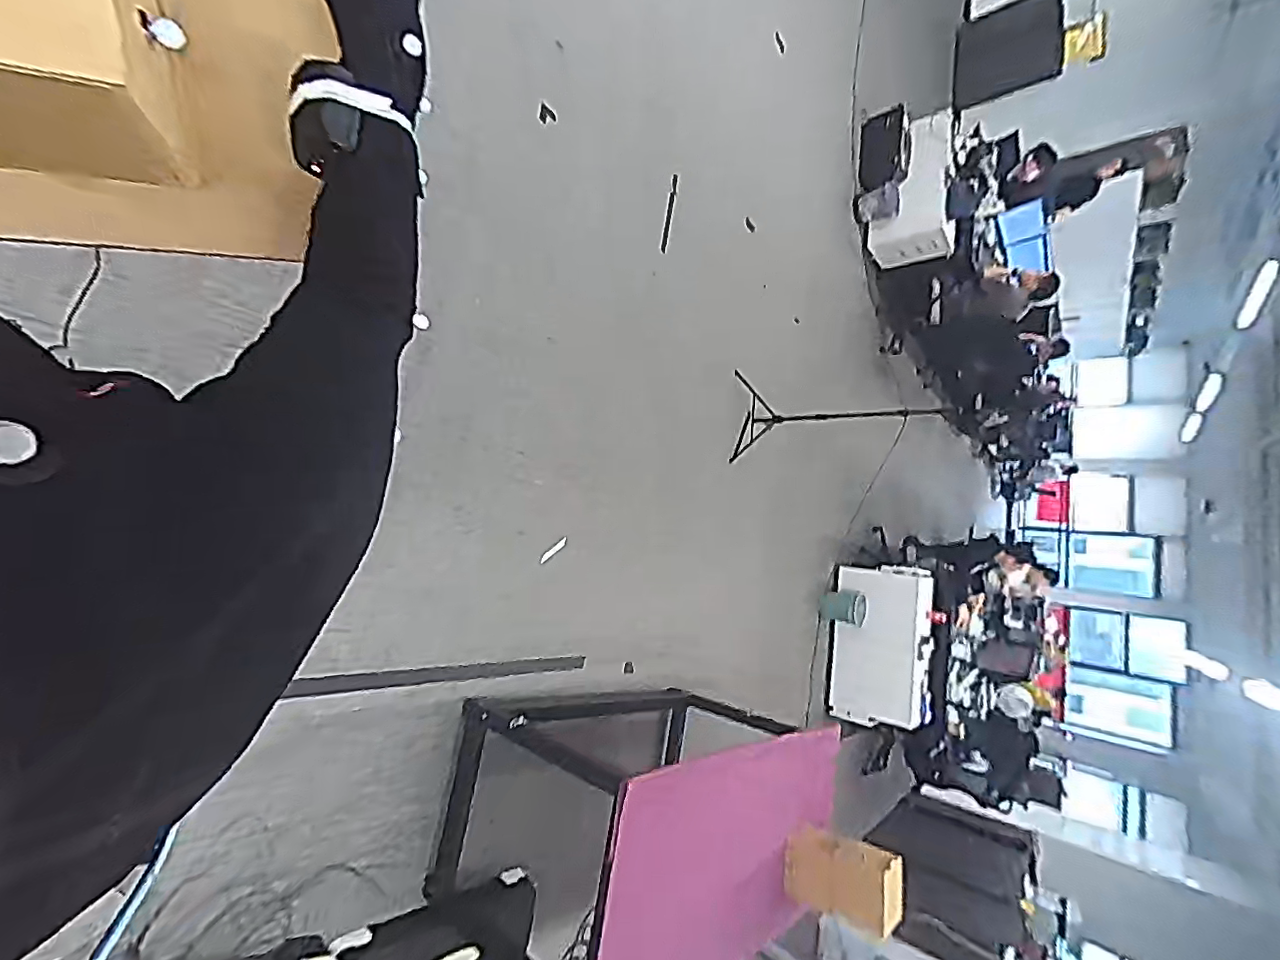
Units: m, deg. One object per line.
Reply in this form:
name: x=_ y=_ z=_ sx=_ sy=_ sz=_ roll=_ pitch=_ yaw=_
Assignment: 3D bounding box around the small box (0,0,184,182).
small box: x=-0.363 y=-0.272 z=0.274 sx=0.179 sy=0.176 sz=0.168 roll=-5 pitch=102 yaw=-28
